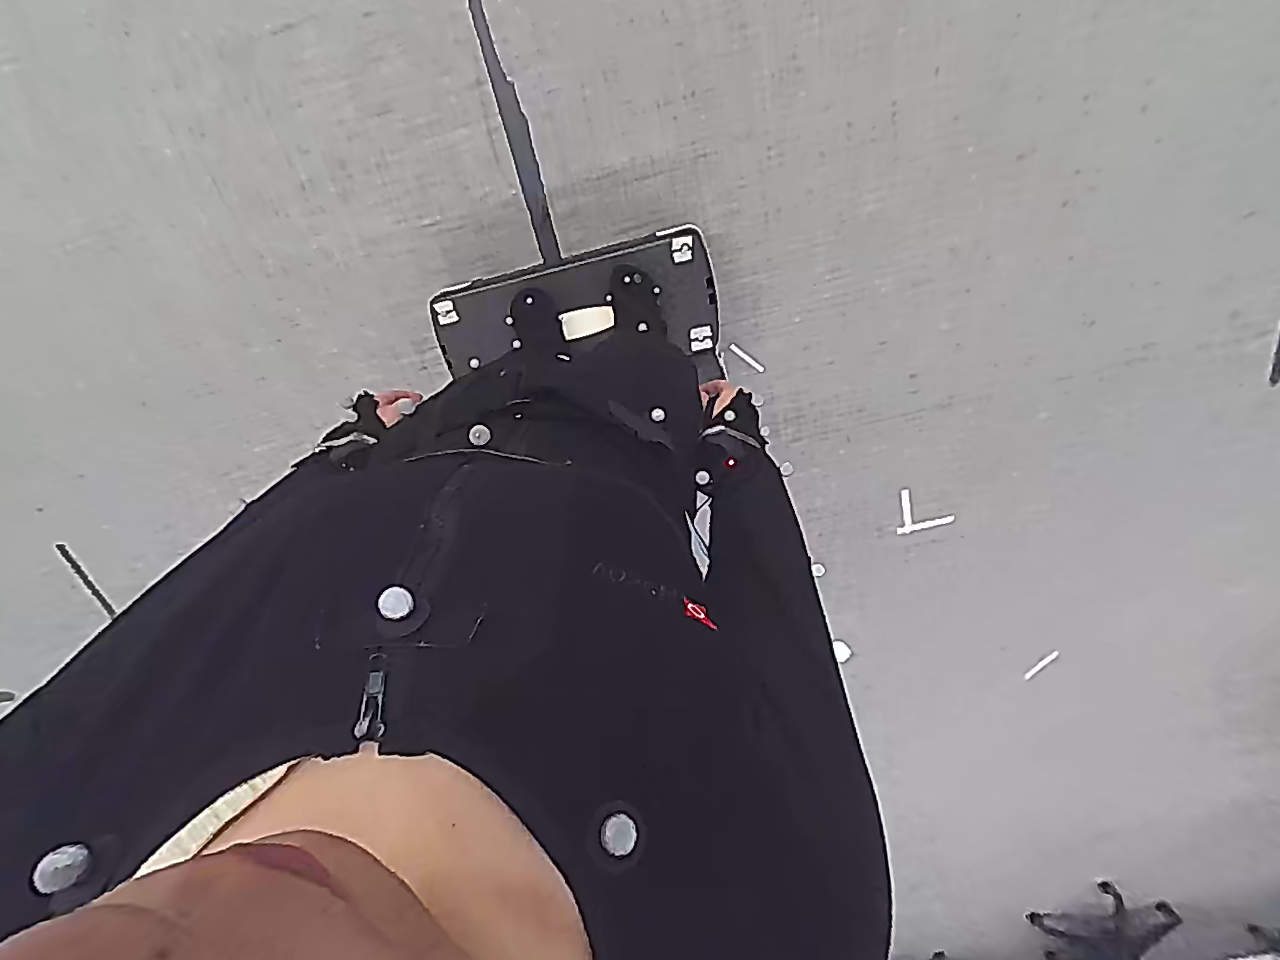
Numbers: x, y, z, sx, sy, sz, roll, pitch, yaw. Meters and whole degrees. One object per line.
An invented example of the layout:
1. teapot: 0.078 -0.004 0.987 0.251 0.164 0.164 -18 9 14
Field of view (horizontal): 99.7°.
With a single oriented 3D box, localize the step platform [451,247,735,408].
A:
1. step platform: -0.109 -0.378 1.353 0.684 0.204 0.286 -9 114 4
